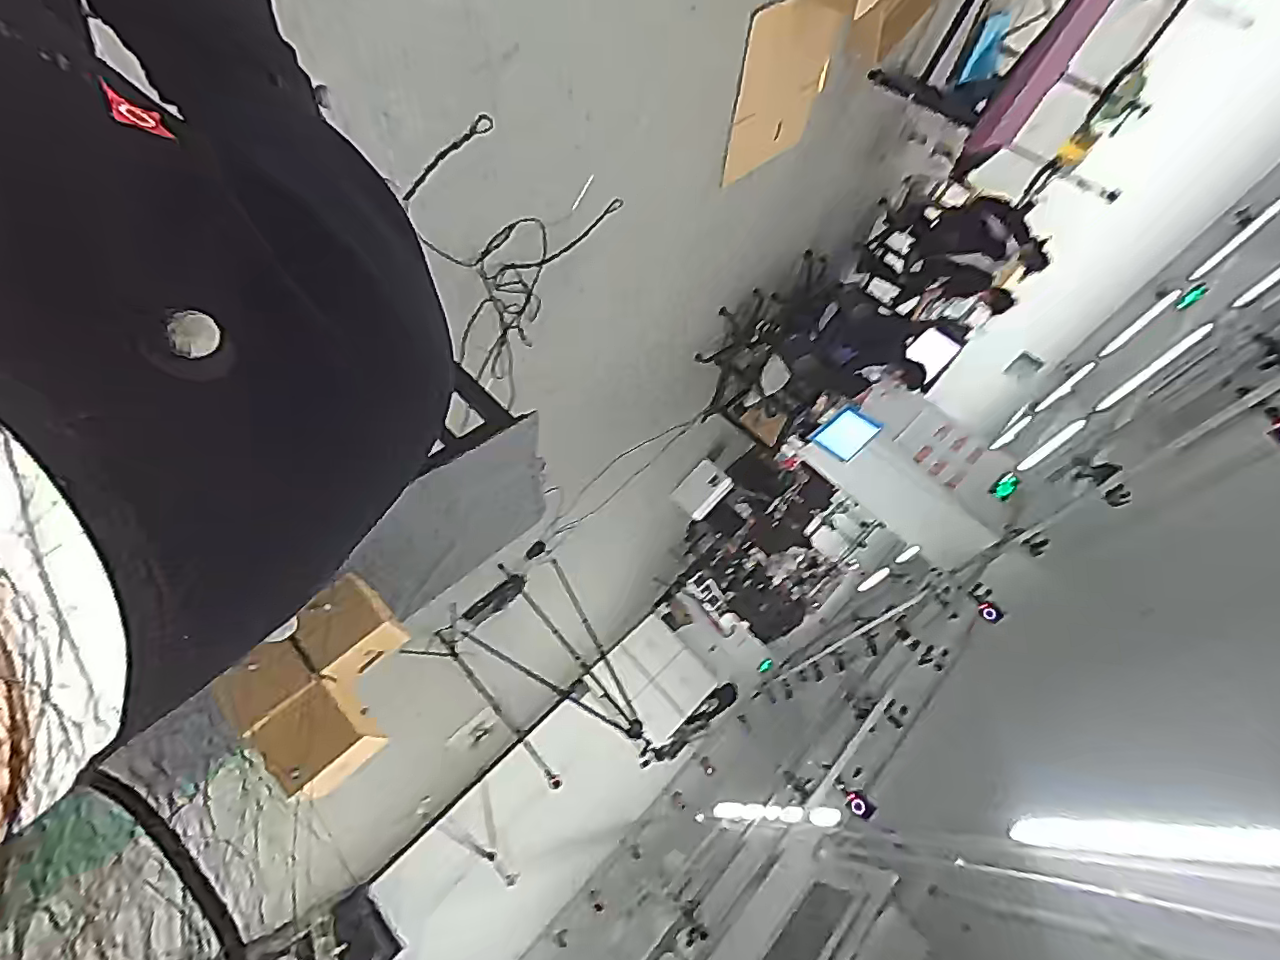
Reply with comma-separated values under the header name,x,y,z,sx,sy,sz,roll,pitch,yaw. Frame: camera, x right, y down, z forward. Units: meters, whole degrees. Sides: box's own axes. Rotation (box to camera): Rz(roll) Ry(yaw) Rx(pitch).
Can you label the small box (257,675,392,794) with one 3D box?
name,x,y,z,sx,sy,sz,roll,pitch,yaw
small box,-0.702,0.565,1.214,0.179,0.176,0.168,-40,162,-21
